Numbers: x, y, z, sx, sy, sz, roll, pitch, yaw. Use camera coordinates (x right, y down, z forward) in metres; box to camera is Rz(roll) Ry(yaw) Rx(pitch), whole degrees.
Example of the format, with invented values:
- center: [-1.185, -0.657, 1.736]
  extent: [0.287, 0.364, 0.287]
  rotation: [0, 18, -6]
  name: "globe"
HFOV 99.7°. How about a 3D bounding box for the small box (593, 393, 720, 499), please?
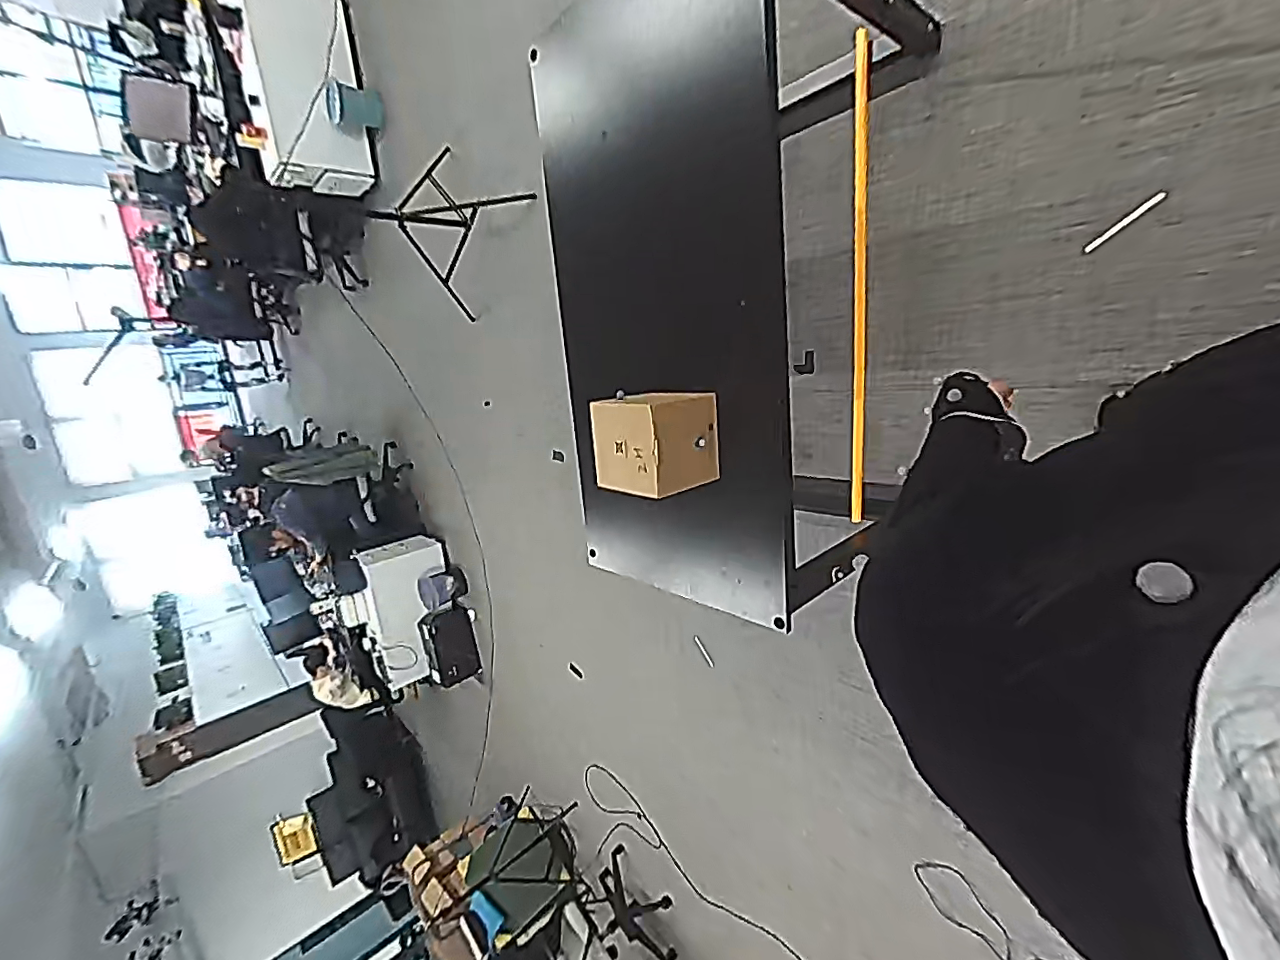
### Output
- center: [0.032, -0.073, 1.035]
  extent: [0.179, 0.176, 0.168]
  rotation: [11, 111, 47]
  name: "small box"
